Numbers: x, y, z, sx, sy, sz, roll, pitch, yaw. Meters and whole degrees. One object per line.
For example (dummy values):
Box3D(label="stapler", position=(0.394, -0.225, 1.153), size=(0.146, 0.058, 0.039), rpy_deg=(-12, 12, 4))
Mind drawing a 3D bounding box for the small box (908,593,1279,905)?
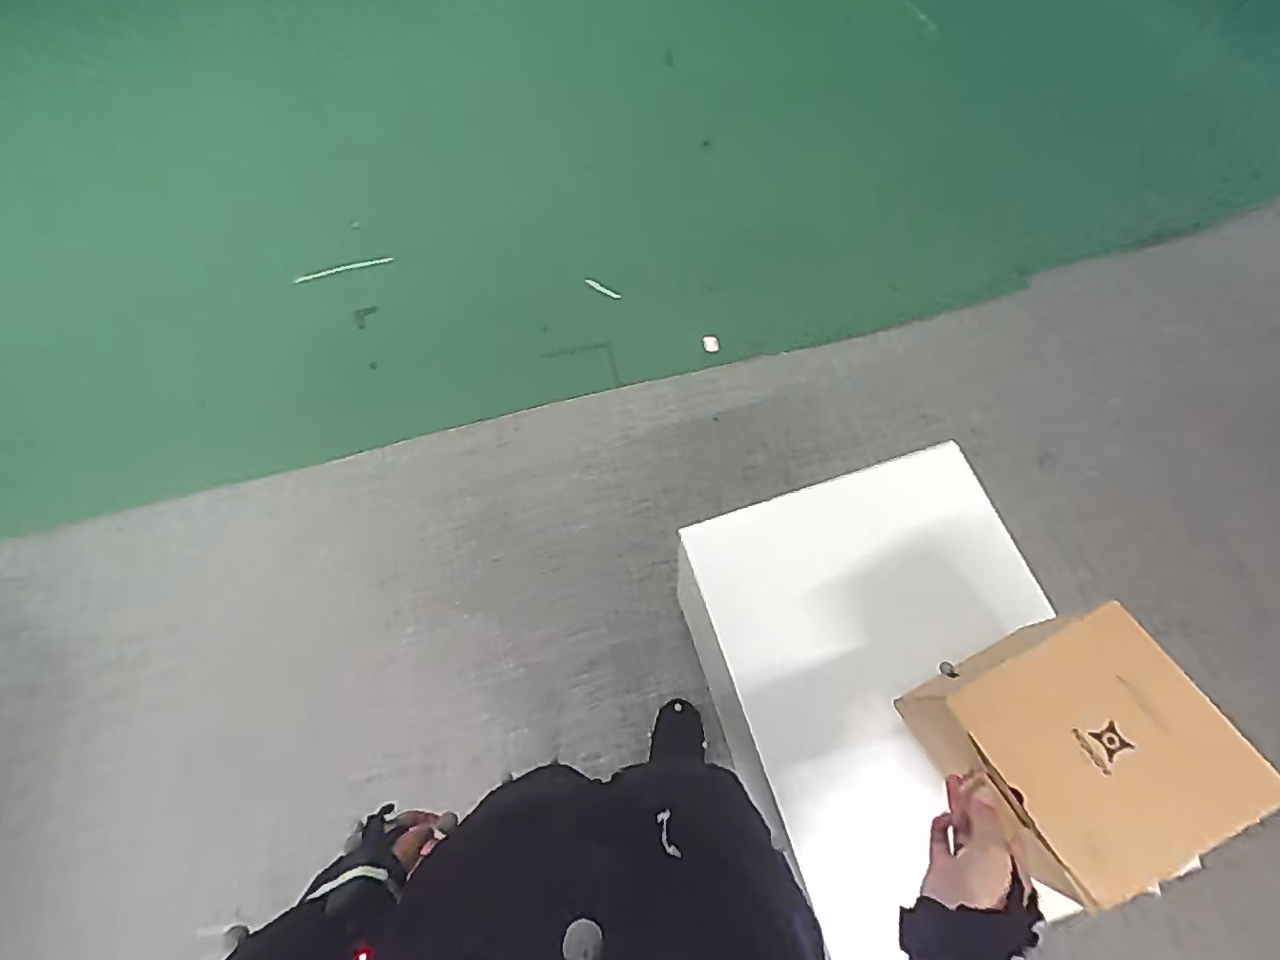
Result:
Box3D(label="small box", position=(0.375, 0.231, 0.492), size=(0.179, 0.176, 0.168), rpy_deg=(-29, 65, -4))
